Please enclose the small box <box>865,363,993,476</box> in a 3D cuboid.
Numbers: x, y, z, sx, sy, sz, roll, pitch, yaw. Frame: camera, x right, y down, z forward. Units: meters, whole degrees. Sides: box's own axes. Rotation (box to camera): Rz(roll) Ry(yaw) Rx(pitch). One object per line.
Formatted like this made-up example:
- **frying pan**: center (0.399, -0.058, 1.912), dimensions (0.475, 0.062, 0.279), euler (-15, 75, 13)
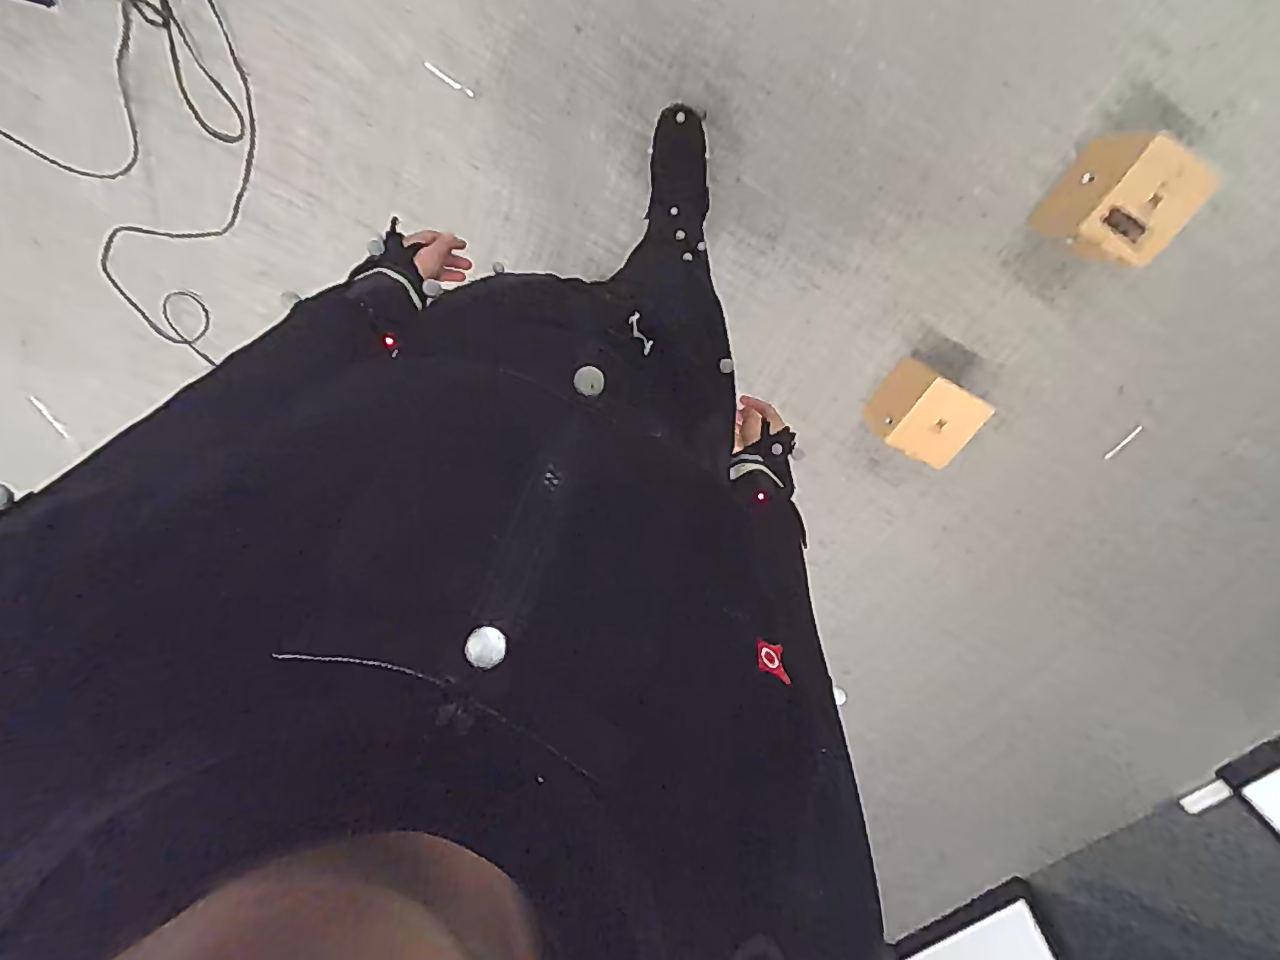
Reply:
- **small box**: center (0.657, -0.147, 1.257), dimensions (0.168, 0.176, 0.179), euler (24, 118, -12)
